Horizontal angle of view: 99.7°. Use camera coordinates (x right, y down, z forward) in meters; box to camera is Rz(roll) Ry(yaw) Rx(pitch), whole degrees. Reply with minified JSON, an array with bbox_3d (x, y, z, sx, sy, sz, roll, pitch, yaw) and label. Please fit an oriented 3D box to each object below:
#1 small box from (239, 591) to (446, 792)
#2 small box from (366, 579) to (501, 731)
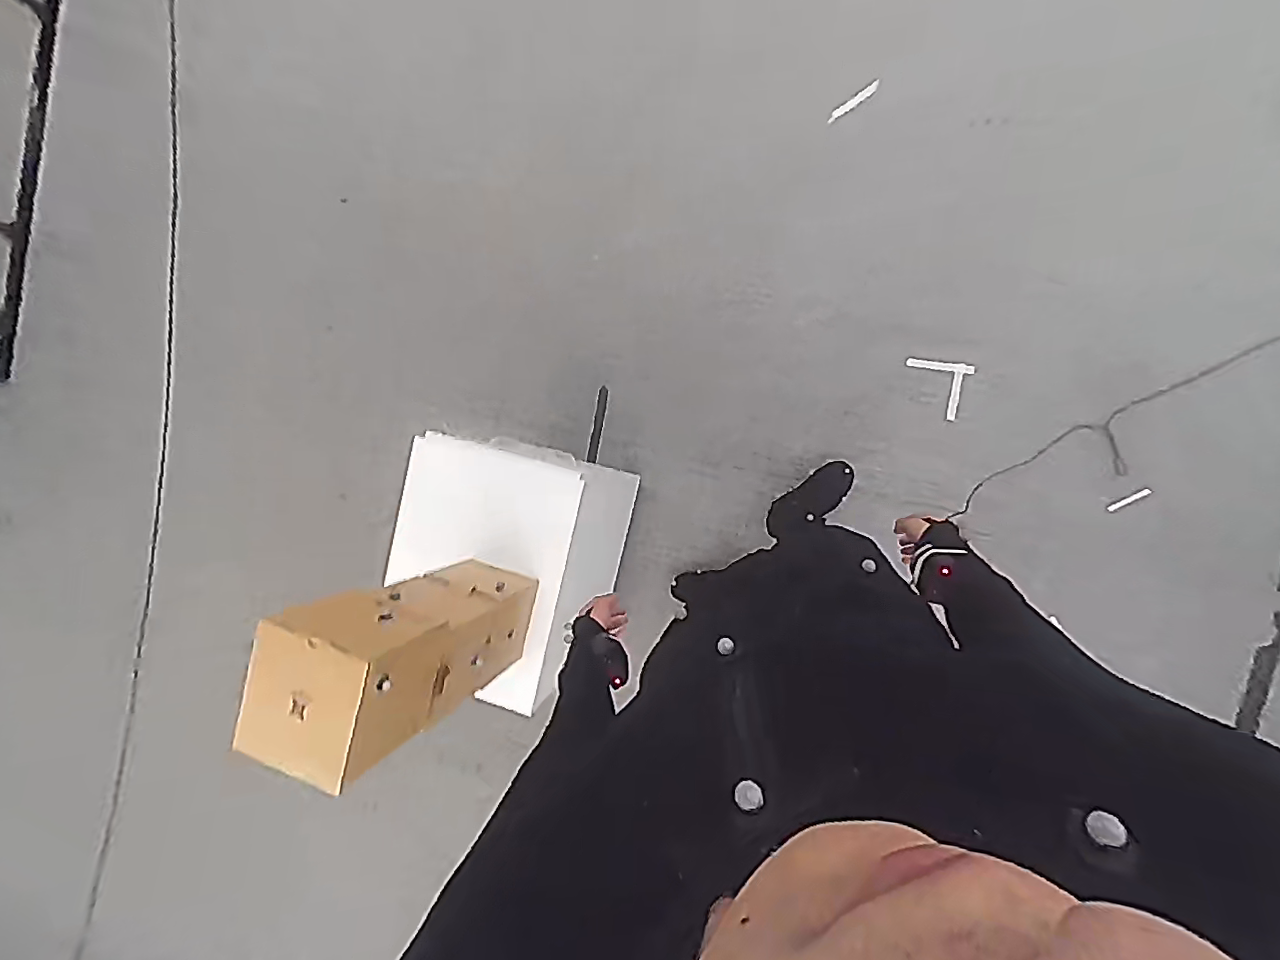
[{"bbox_3d":[-0.392,0.271,0.737,0.168,0.176,0.179,15,94,12],"label":"small box"},{"bbox_3d":[-0.361,0.274,0.897,0.179,0.176,0.168,16,96,11],"label":"small box"}]
